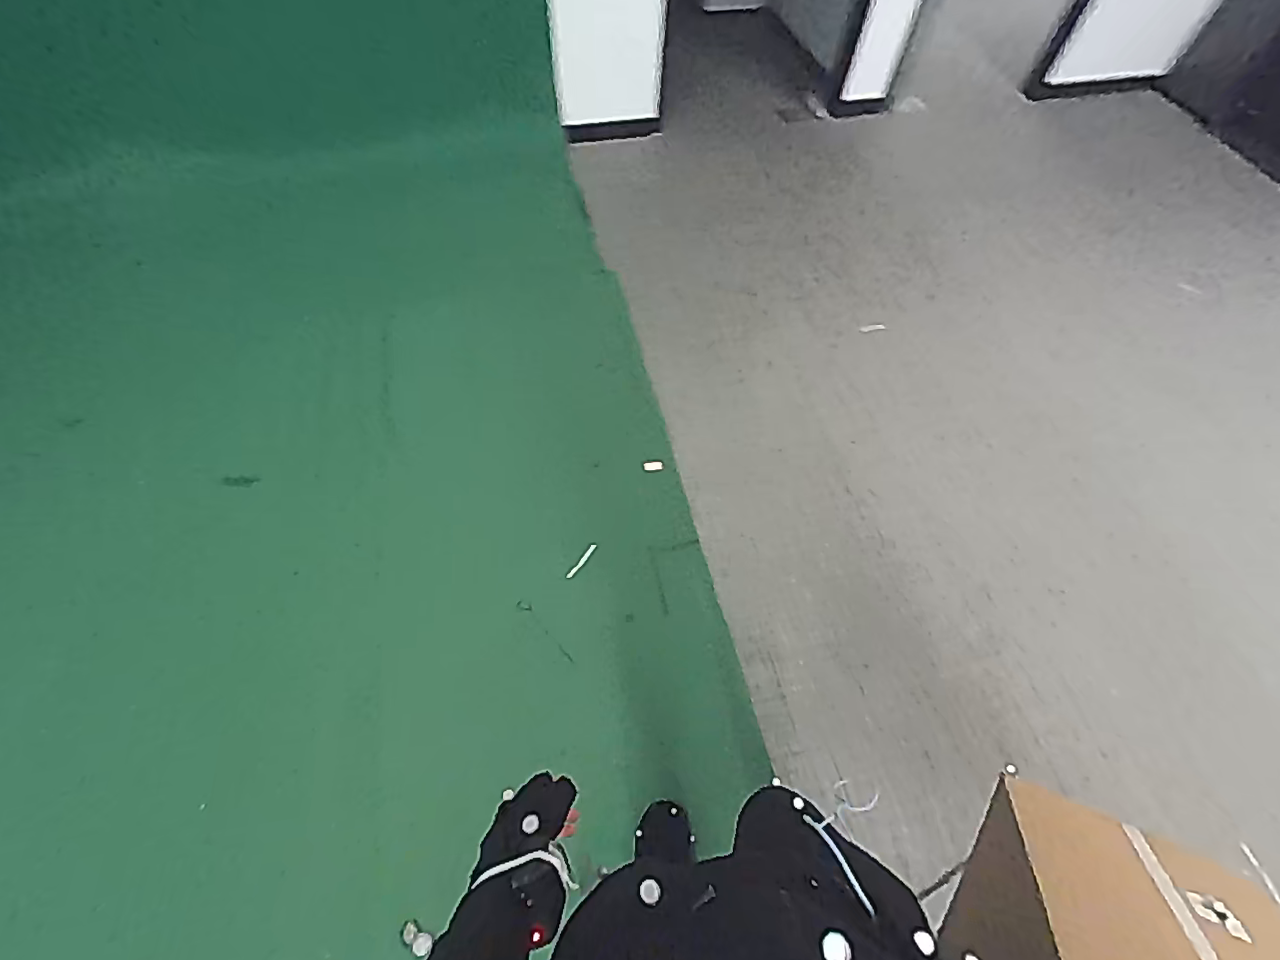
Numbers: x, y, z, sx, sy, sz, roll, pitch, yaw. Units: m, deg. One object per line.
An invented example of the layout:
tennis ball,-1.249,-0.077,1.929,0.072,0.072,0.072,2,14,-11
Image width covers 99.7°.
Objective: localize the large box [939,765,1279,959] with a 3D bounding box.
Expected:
large box,0.578,0.643,0.635,0.320,0.408,0.320,18,101,22
